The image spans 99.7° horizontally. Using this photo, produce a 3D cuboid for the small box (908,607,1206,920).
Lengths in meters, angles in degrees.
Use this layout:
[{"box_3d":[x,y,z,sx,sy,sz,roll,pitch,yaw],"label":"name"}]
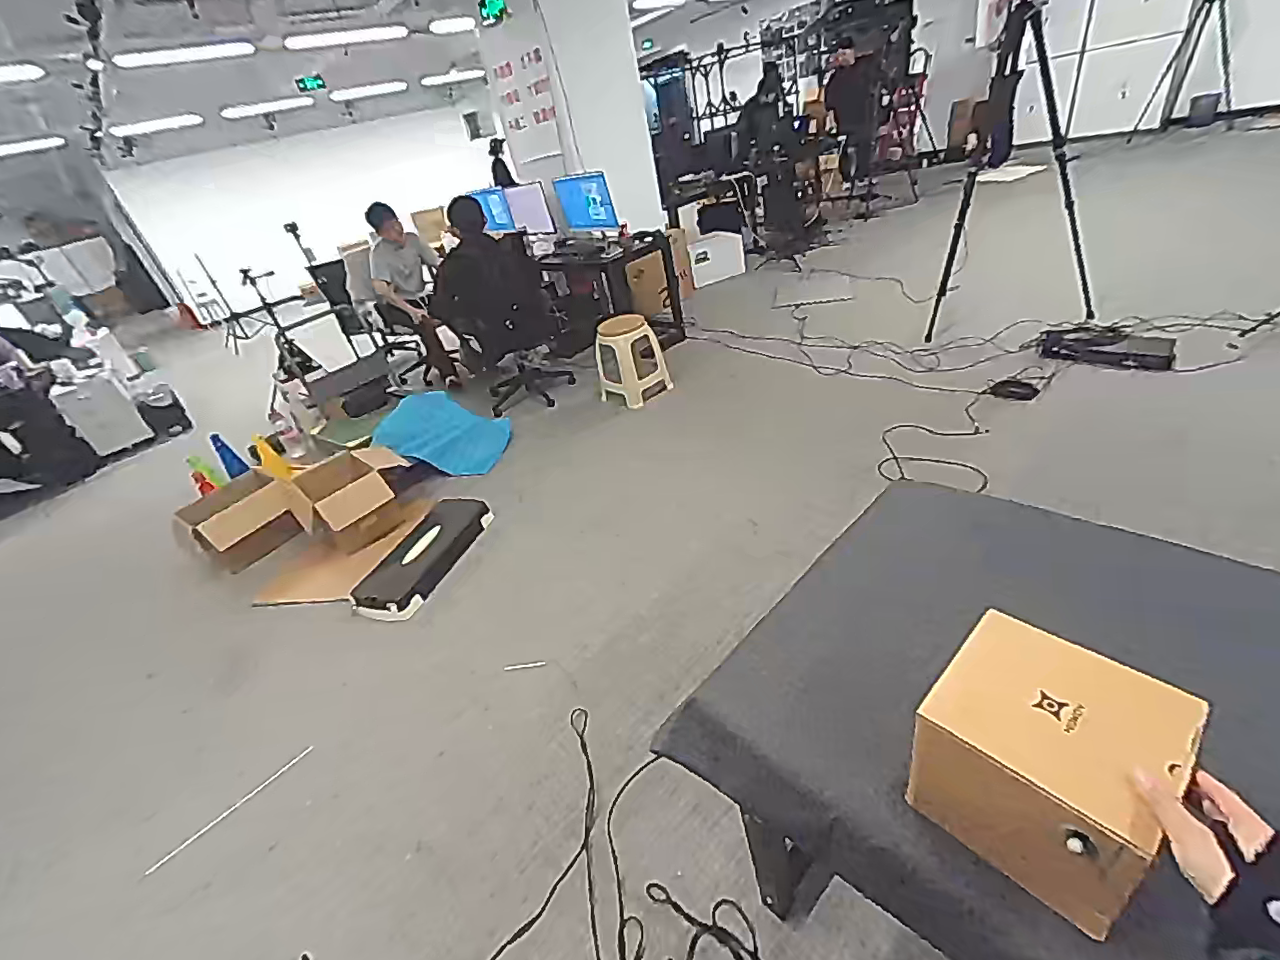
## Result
[{"box_3d":[0.384,0.266,0.527,0.168,0.176,0.179,-34,38,-28],"label":"small box"}]
